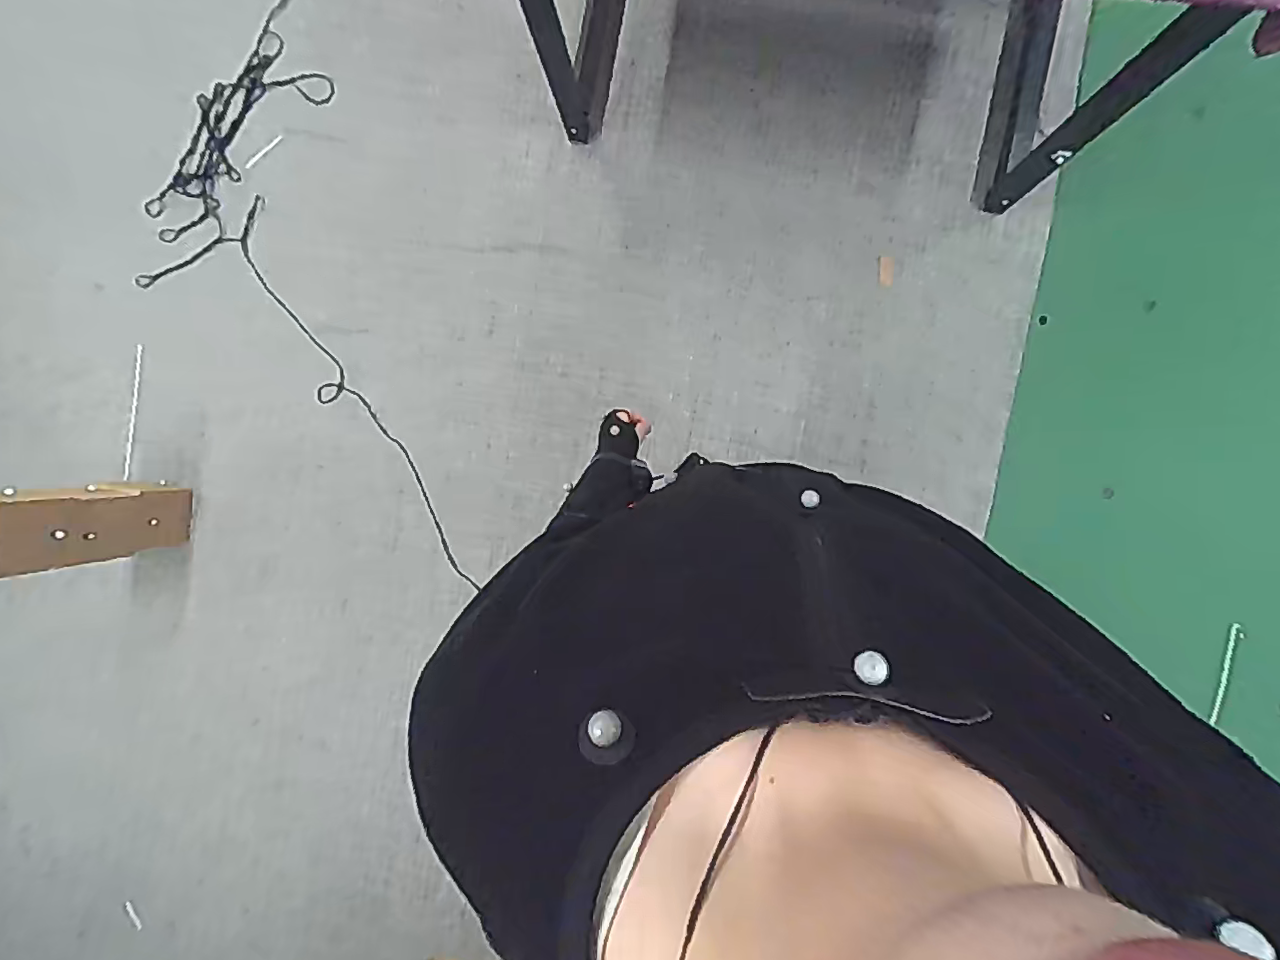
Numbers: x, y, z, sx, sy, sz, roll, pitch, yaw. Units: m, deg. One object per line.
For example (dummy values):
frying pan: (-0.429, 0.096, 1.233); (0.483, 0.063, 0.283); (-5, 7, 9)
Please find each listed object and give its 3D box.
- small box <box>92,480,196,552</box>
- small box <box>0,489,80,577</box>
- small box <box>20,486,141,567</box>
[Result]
small box: (-1.450, 0.101, 1.580); (0.168, 0.176, 0.179); (9, 92, 5)
small box: (-1.466, 0.117, 1.253); (0.168, 0.176, 0.179); (7, 92, 5)
small box: (-1.467, 0.115, 1.417); (0.168, 0.176, 0.179); (9, 92, 4)
